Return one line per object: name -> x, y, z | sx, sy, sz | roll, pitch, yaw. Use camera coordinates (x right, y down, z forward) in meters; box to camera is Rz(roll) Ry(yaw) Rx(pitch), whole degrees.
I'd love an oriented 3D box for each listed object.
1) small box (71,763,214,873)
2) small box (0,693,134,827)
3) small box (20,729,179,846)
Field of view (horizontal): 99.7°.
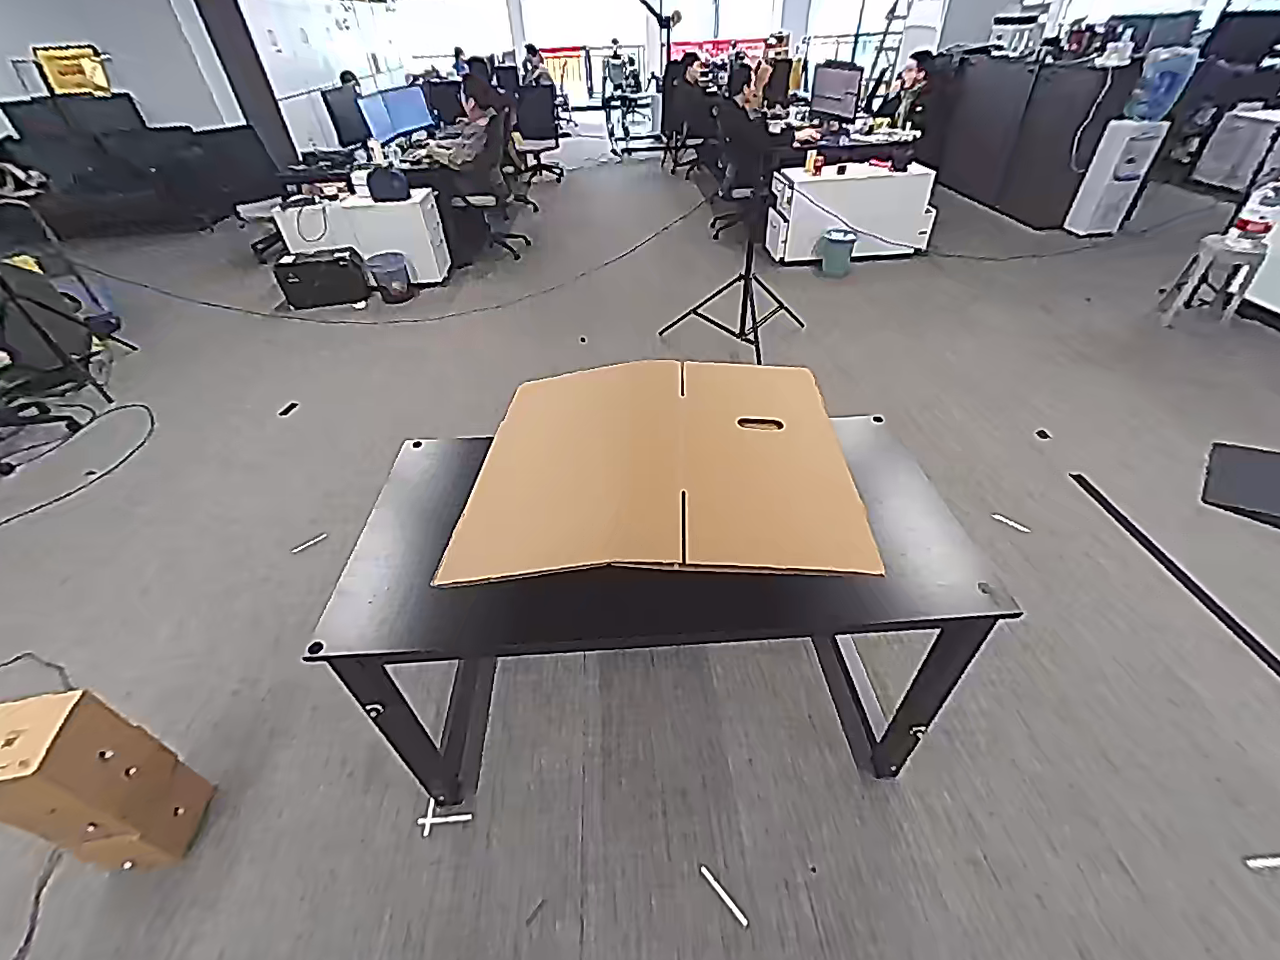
small box -> -1.196, 0.827, 1.323 | 0.168, 0.176, 0.179 | -6, 41, -4
small box -> -1.211, 0.576, 1.115 | 0.168, 0.176, 0.179 | -9, 40, -8
small box -> -1.206, 0.699, 1.224 | 0.168, 0.176, 0.179 | -7, 39, -7
